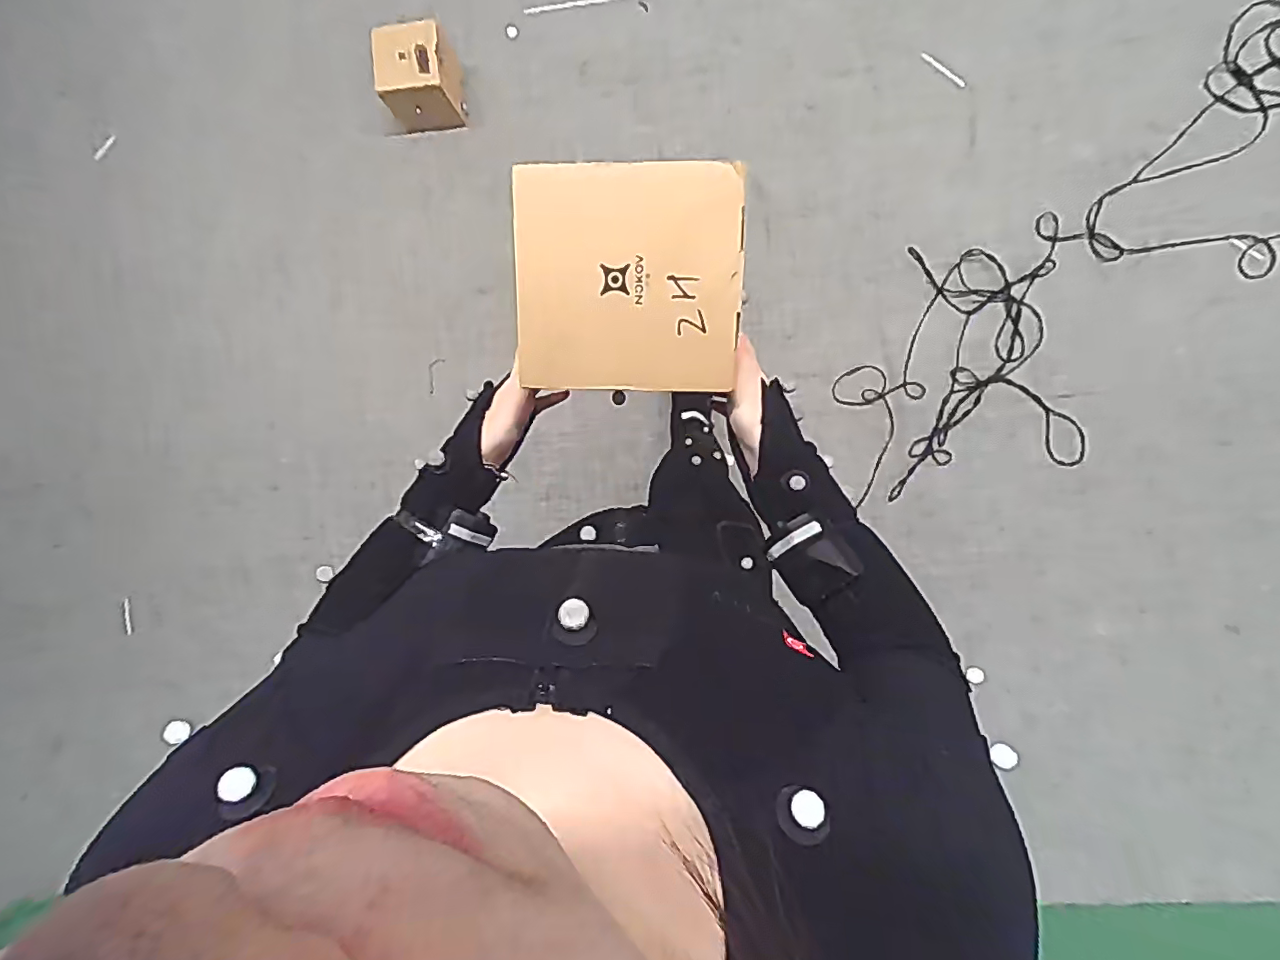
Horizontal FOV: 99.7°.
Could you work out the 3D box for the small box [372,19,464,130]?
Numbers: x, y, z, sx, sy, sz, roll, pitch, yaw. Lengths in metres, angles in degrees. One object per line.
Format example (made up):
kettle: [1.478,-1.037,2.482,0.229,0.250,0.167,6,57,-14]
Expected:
small box: [-0.582,-1.071,1.440,0.179,0.176,0.168,-3,91,6]

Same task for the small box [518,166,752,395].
small box: [0.000,-0.168,0.491,0.179,0.176,0.168,2,105,4]
